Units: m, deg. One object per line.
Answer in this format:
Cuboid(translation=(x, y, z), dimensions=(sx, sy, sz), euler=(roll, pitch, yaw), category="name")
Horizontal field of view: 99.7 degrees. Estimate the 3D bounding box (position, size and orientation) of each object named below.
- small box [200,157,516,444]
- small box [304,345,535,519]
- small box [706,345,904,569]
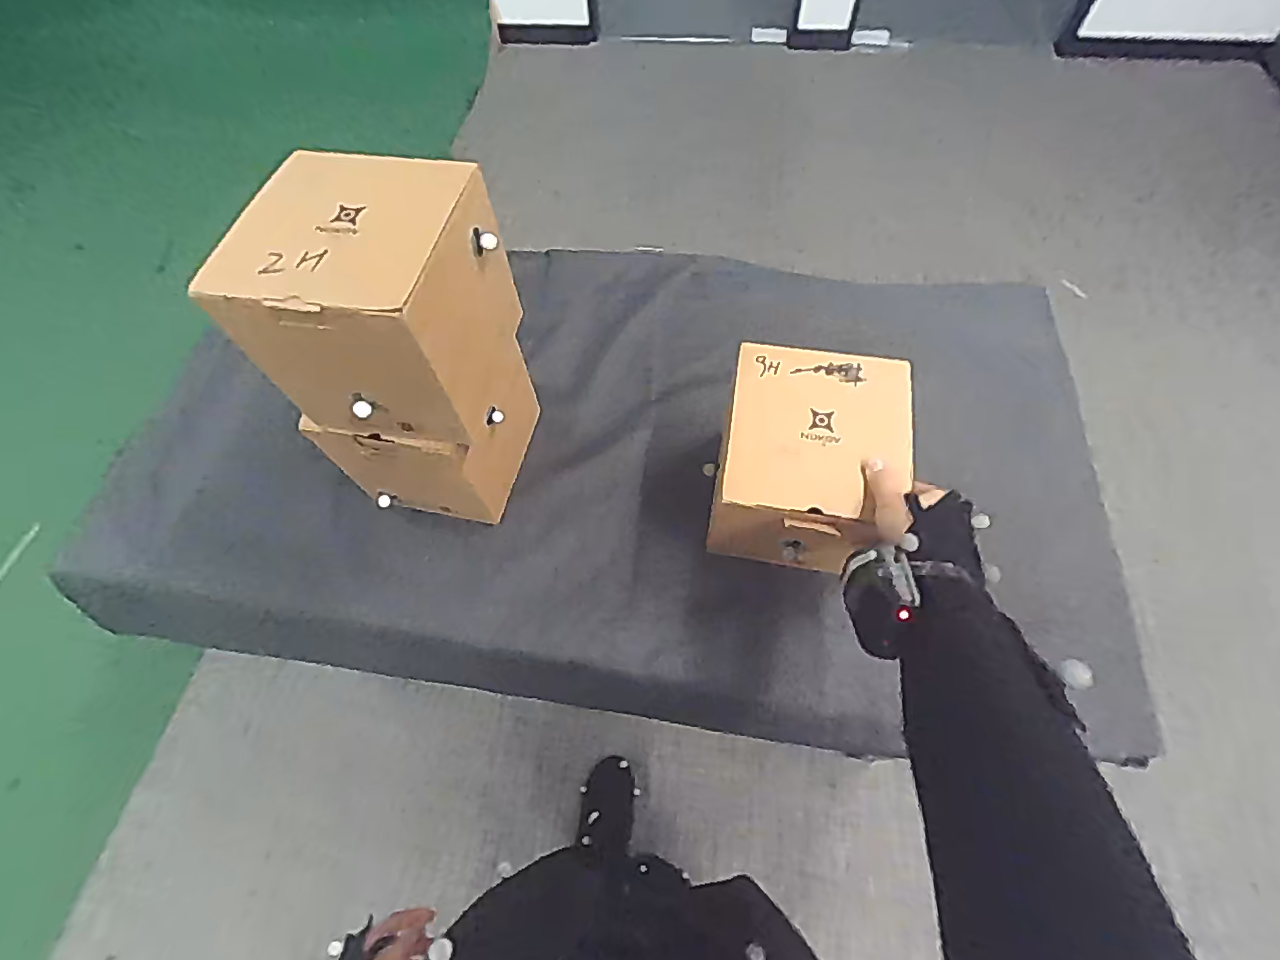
Cuboid(translation=(-0.224, -0.157, 0.492), dimensions=(0.168, 0.176, 0.179), euler=(7, 62, 7), category="small box")
Cuboid(translation=(-0.235, -0.073, 0.634), dimensions=(0.168, 0.176, 0.179), euler=(10, 61, 7), category="small box")
Cuboid(translation=(0.165, -0.015, 0.579), dimensions=(0.168, 0.176, 0.179), euler=(9, 67, 6), category="small box")
